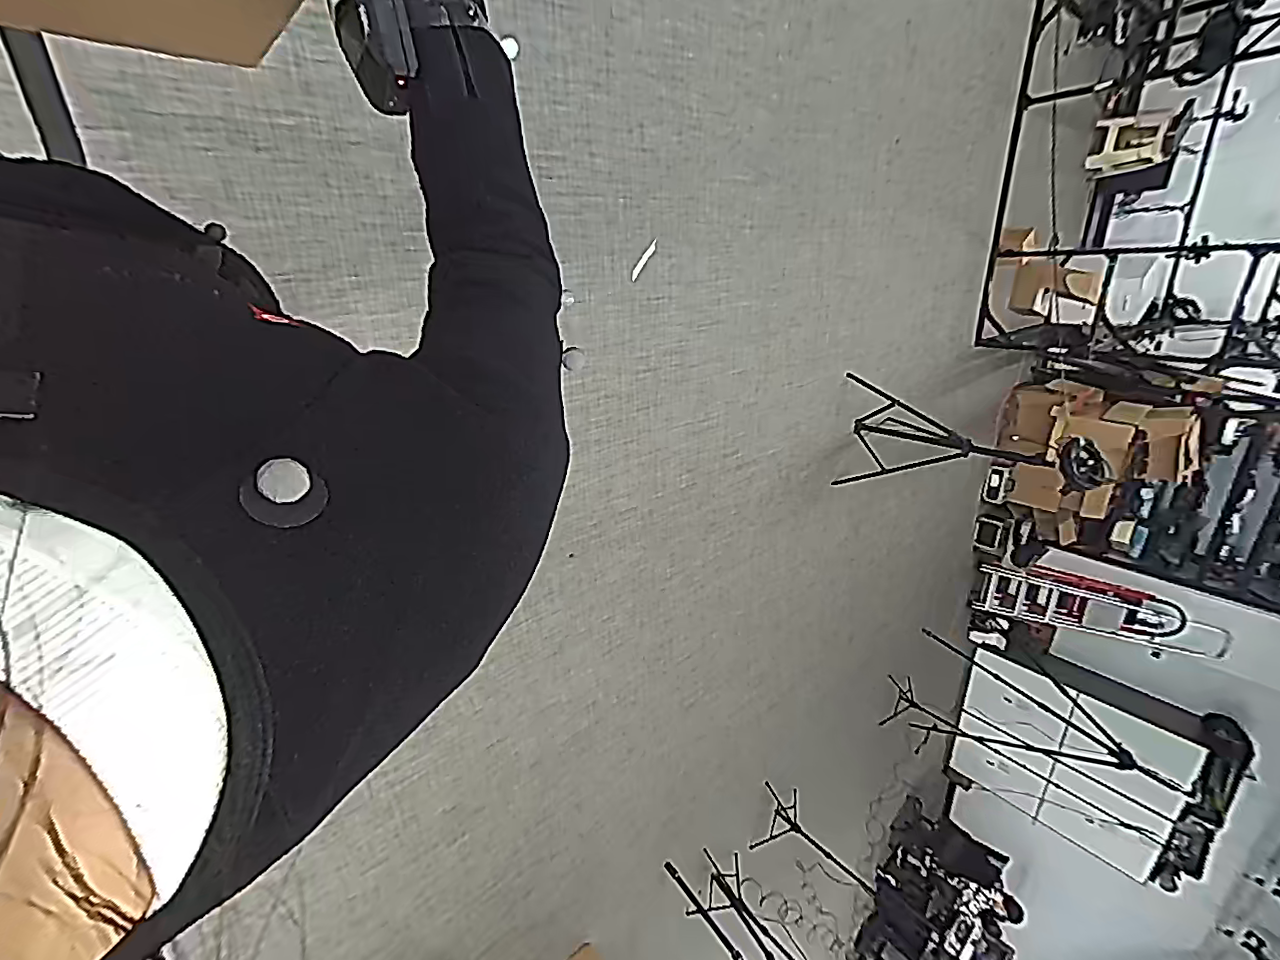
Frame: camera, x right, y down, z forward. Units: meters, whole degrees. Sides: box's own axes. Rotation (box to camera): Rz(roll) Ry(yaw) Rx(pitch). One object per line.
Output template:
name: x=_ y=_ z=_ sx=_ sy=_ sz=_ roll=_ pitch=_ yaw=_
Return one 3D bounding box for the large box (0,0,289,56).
large box: x=-0.420 y=-0.435 z=0.230 sx=0.408 sy=0.320 sz=0.320 roll=-19 pitch=122 yaw=-37
